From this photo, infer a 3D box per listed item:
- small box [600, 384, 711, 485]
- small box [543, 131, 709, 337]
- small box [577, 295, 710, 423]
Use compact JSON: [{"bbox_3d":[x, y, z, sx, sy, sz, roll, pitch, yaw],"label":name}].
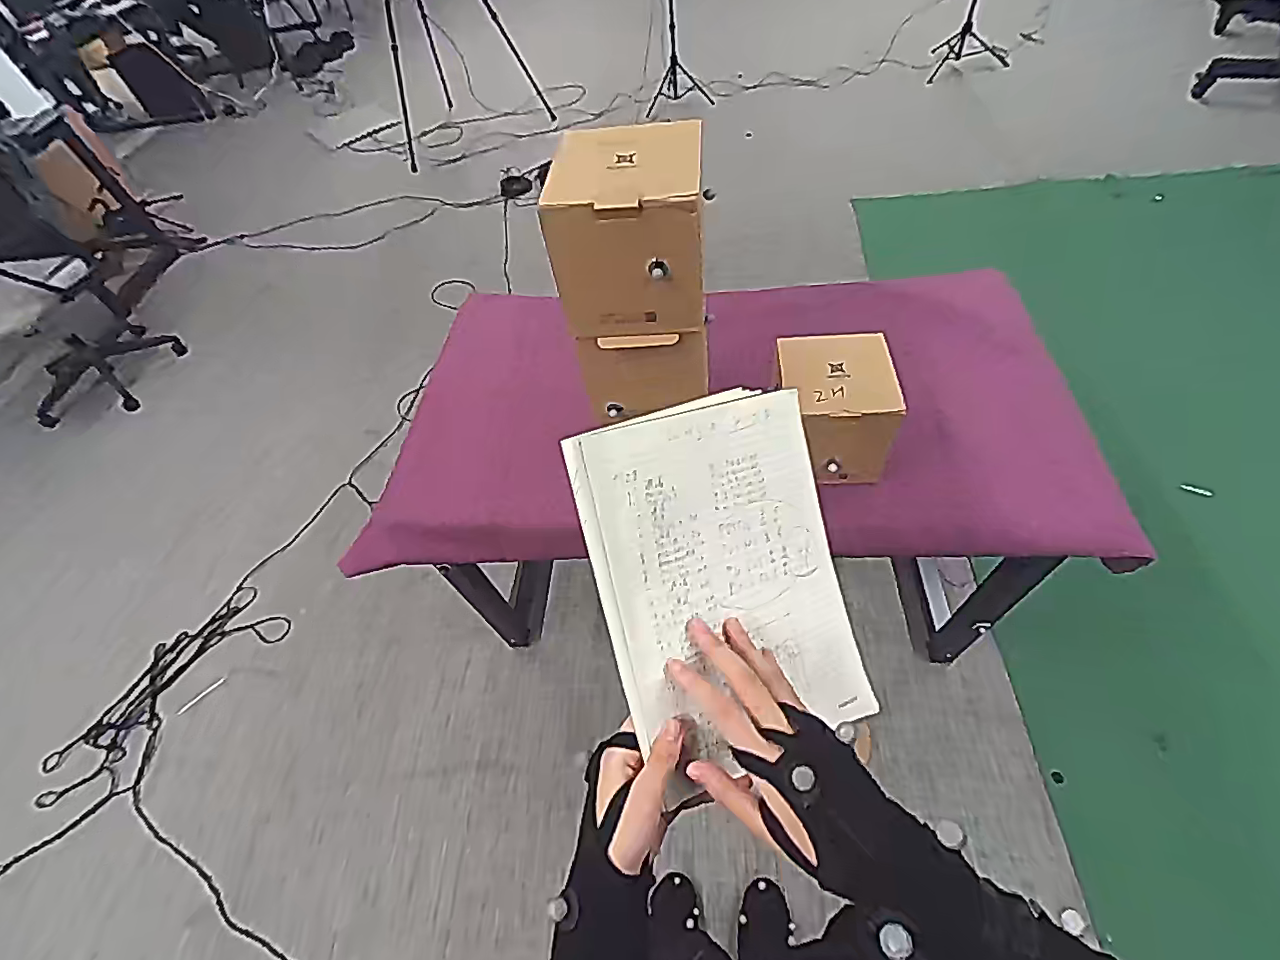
[{"bbox_3d":[0.036,-0.105,0.924,0.168,0.176,0.179,0,55,8],"label":"small box"},{"bbox_3d":[-0.003,-0.289,0.655,0.168,0.176,0.179,1,54,8],"label":"small box"},{"bbox_3d":[0.016,-0.197,0.789,0.168,0.176,0.179,0,53,8],"label":"small box"}]
